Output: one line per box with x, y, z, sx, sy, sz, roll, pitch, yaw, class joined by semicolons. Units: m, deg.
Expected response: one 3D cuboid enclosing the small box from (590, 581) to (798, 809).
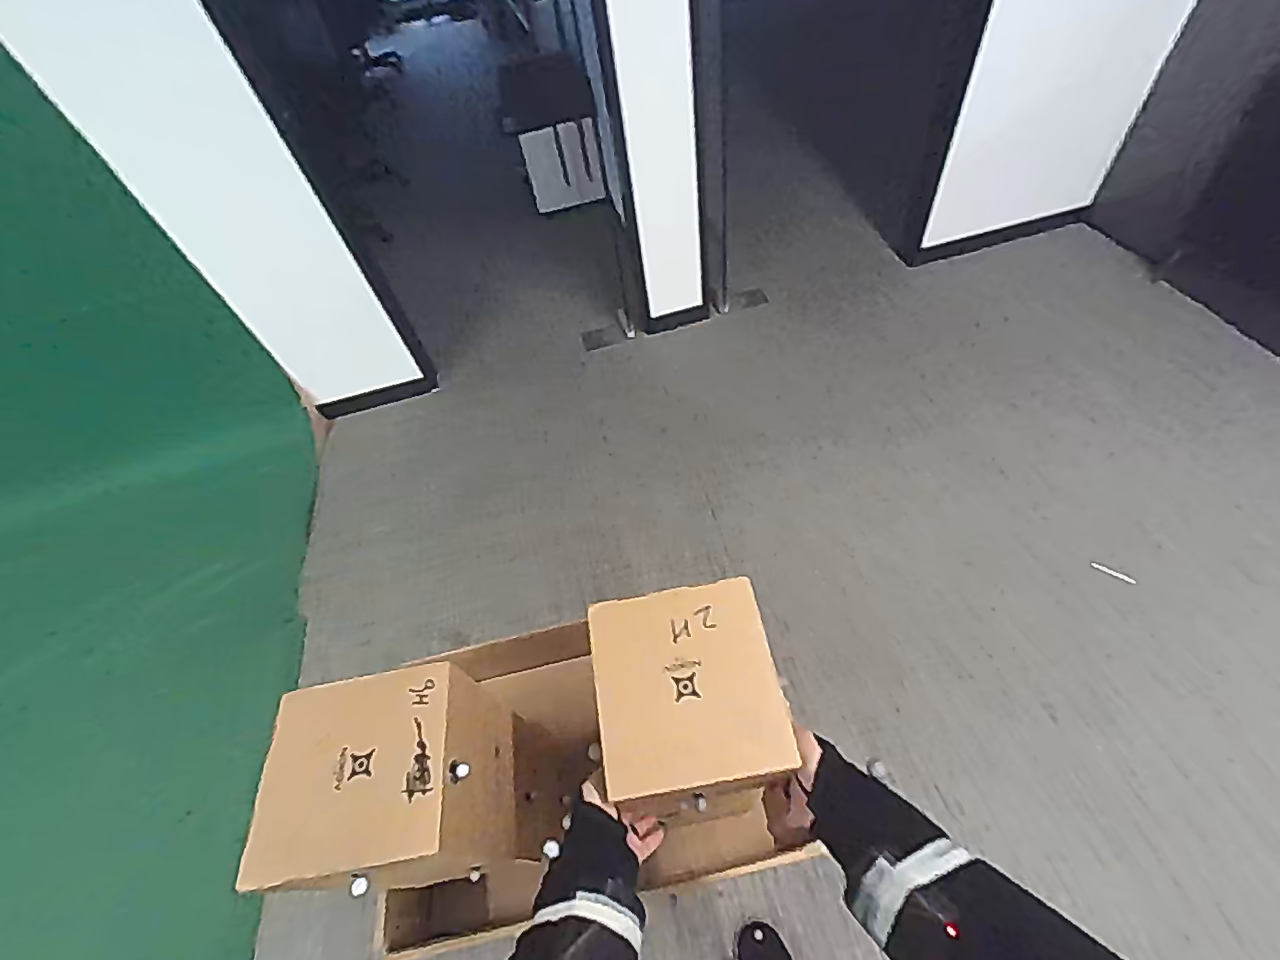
0.048;0.228;0.555;0.168;0.176;0.179;-9;56;-1;small box

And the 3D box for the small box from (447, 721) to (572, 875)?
-0.214;0.492;0.831;0.179;0.176;0.168;-12;53;0;small box

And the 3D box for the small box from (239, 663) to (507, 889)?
-0.252;0.312;0.561;0.179;0.176;0.168;-11;53;1;small box
